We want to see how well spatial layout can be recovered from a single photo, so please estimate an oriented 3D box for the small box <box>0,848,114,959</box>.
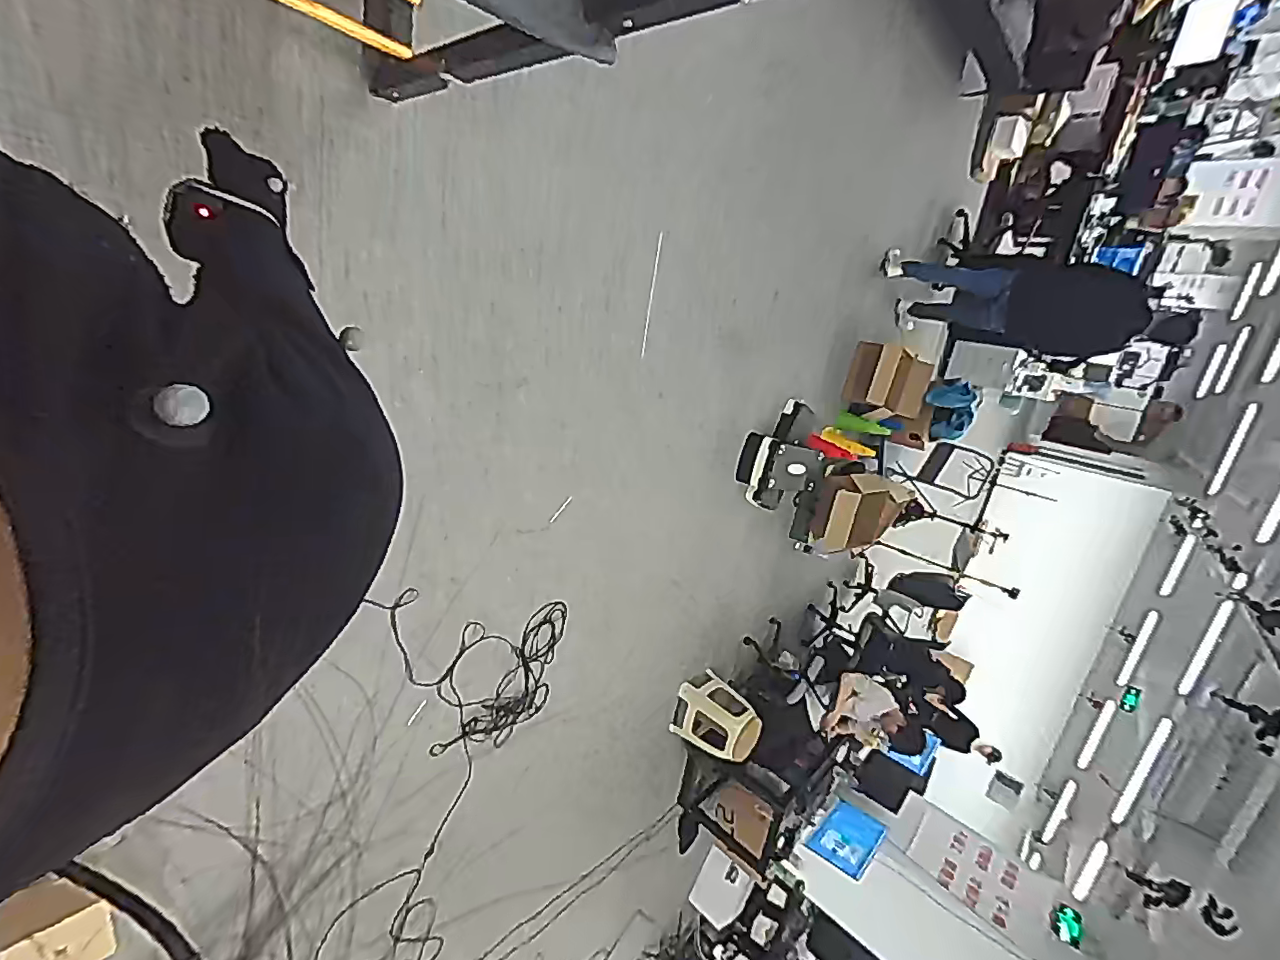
[{"bbox_3d":[-1.335,1.002,1.234,0.168,0.176,0.179,-13,116,-49],"label":"small box"}]
